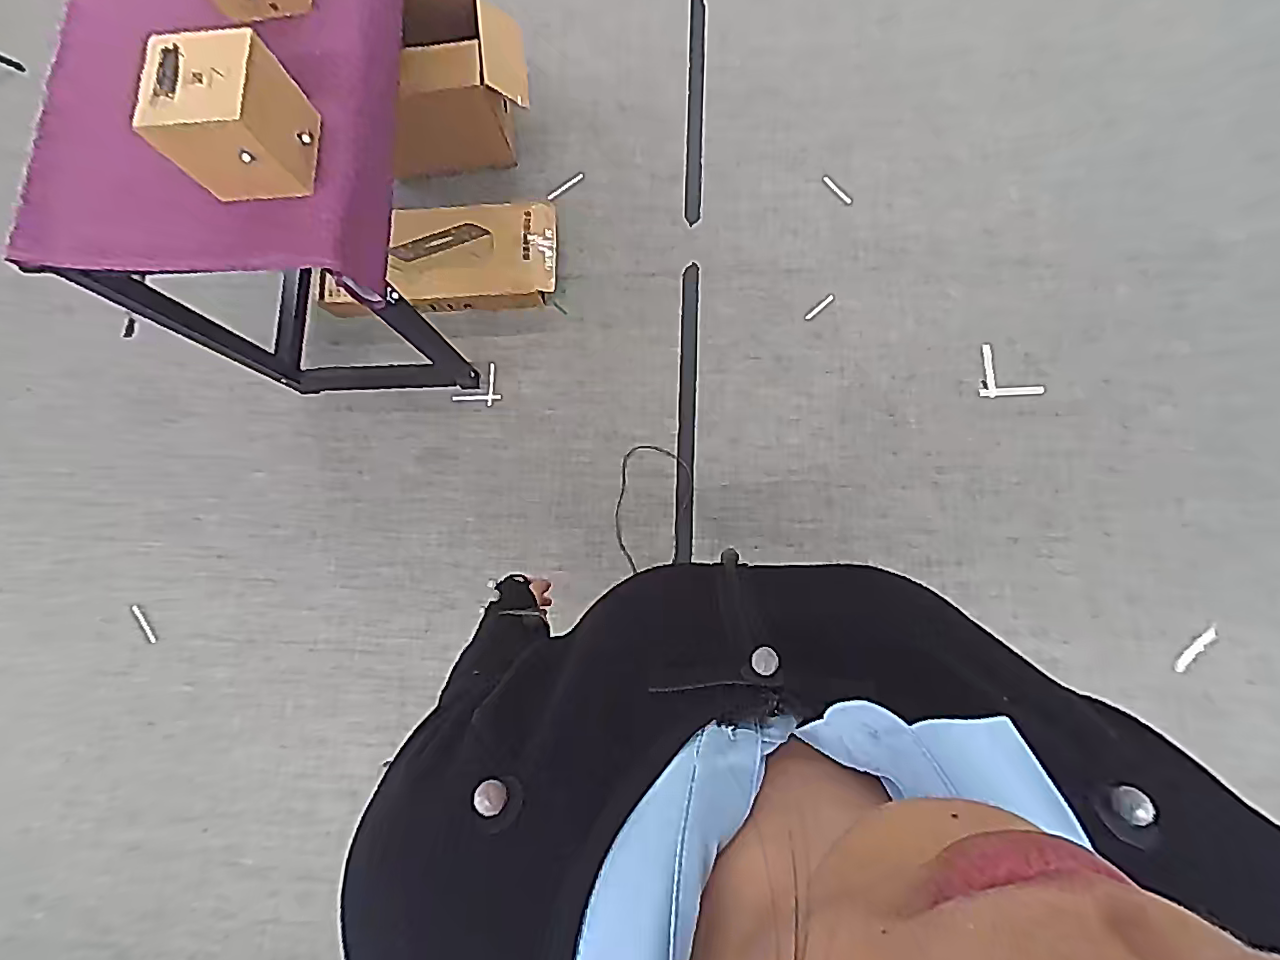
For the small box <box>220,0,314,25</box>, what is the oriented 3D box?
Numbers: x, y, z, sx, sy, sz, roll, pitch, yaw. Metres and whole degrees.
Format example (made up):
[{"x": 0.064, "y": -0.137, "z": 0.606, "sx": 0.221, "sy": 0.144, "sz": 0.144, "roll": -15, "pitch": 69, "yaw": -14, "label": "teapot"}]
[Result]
[{"x": -0.713, "y": -0.979, "z": 0.974, "sx": 0.168, "sy": 0.176, "sz": 0.179, "roll": -2, "pitch": 80, "yaw": 7, "label": "small box"}]
